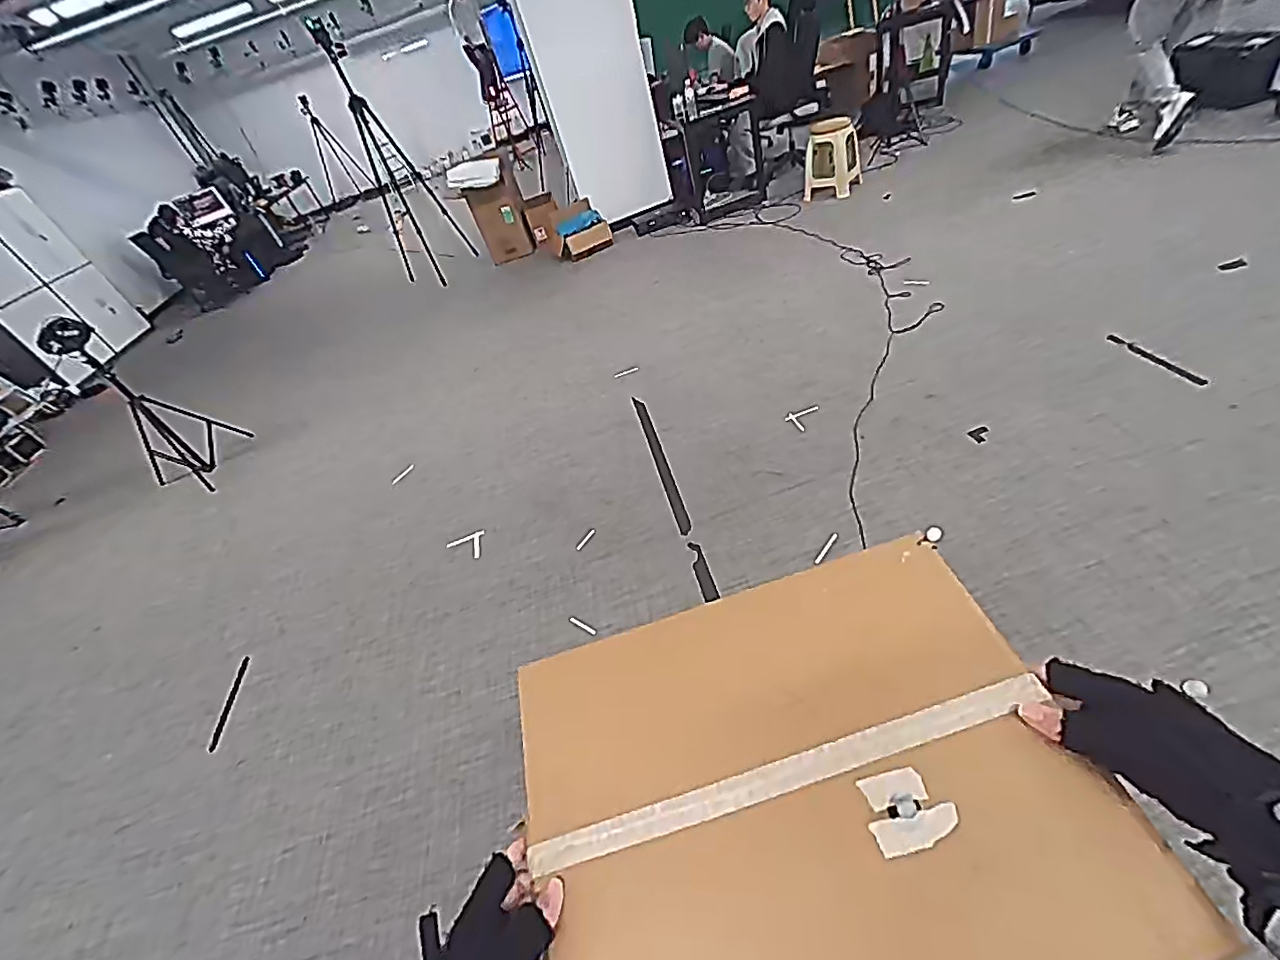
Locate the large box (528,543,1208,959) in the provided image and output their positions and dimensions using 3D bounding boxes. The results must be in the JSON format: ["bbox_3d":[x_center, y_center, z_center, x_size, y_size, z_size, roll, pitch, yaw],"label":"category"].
[{"bbox_3d":[0.147,0.328,0.525,0.408,0.320,0.320,-19,47,-1],"label":"large box"}]
